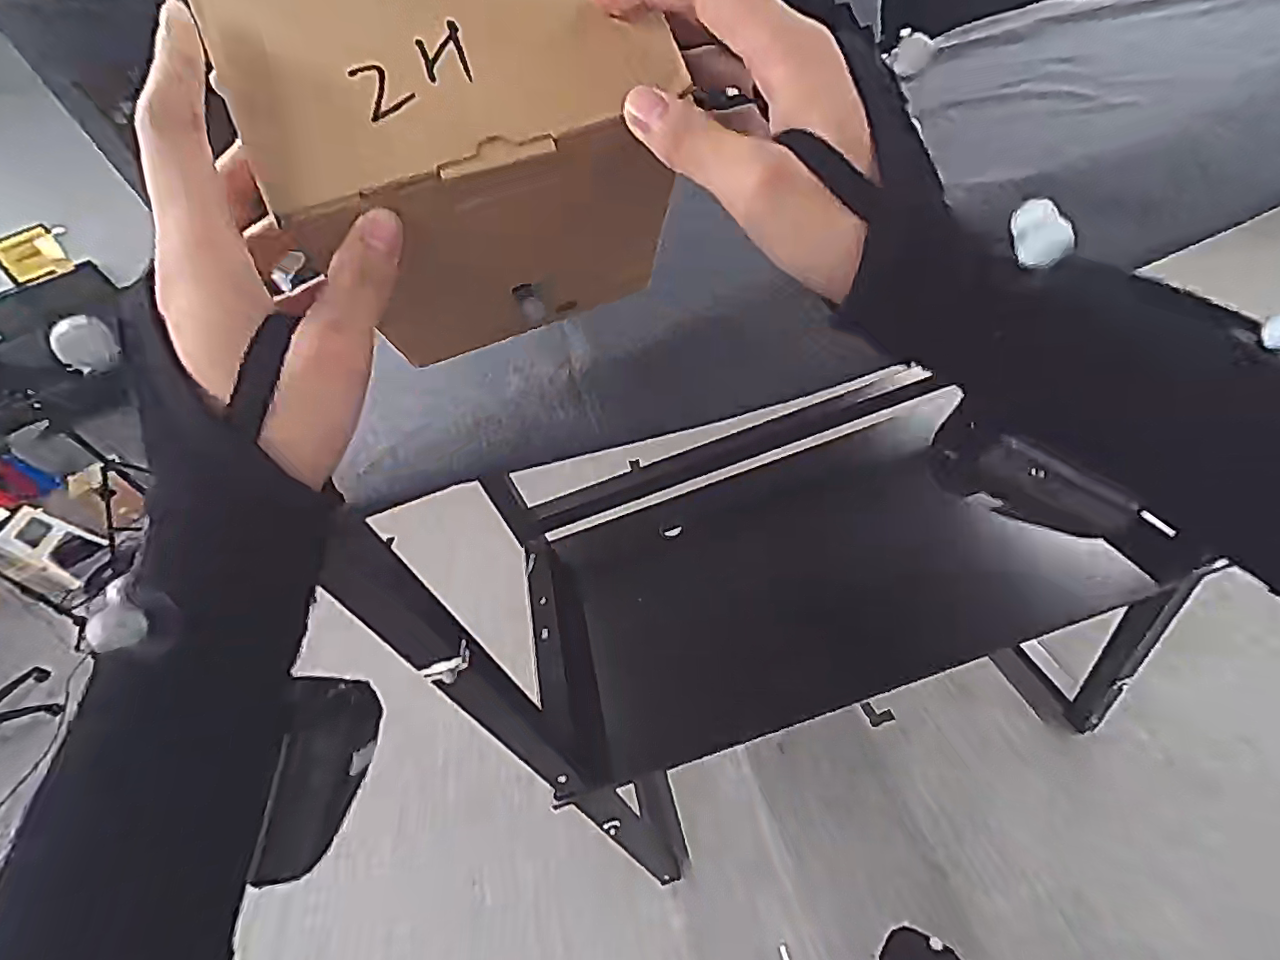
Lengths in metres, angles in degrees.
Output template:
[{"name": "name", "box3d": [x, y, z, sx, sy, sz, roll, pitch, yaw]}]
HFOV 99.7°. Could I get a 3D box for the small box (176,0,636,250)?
[{"name": "small box", "box3d": [-0.110, -0.245, 0.248, 0.168, 0.176, 0.179, -21, 86, -8]}]
